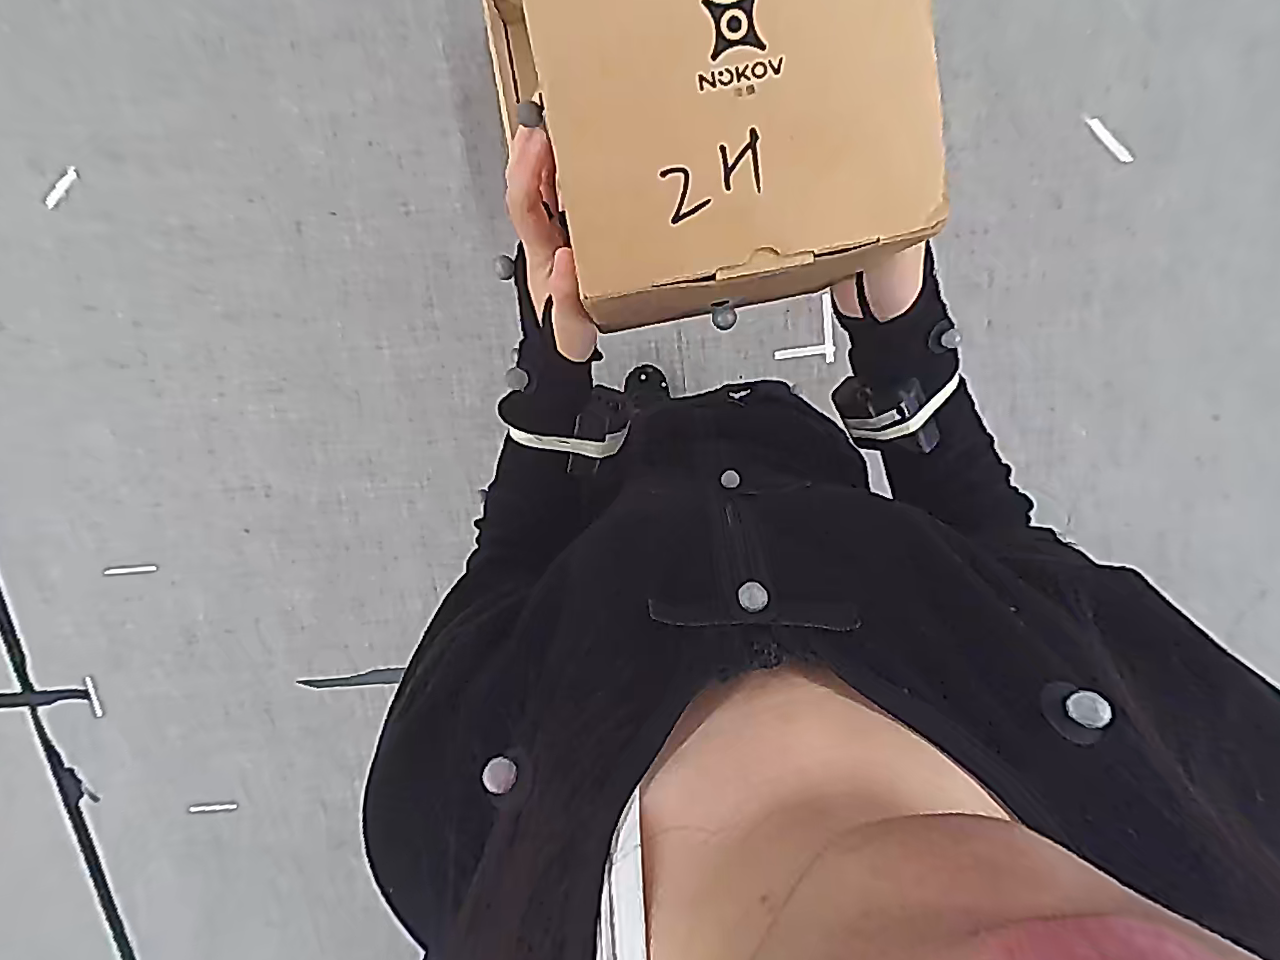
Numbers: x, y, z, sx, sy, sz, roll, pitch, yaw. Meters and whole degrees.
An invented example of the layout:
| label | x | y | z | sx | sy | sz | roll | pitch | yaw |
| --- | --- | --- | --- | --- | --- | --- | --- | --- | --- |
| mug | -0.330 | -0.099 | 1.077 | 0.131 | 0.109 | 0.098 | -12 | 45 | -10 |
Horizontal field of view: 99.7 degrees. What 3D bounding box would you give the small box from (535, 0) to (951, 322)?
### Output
| label | x | y | z | sx | sy | sz | roll | pitch | yaw |
| --- | --- | --- | --- | --- | --- | --- | --- | --- | --- |
| small box | 0.038 | -0.198 | 0.301 | 0.168 | 0.176 | 0.179 | -11 | 101 | 1 |
